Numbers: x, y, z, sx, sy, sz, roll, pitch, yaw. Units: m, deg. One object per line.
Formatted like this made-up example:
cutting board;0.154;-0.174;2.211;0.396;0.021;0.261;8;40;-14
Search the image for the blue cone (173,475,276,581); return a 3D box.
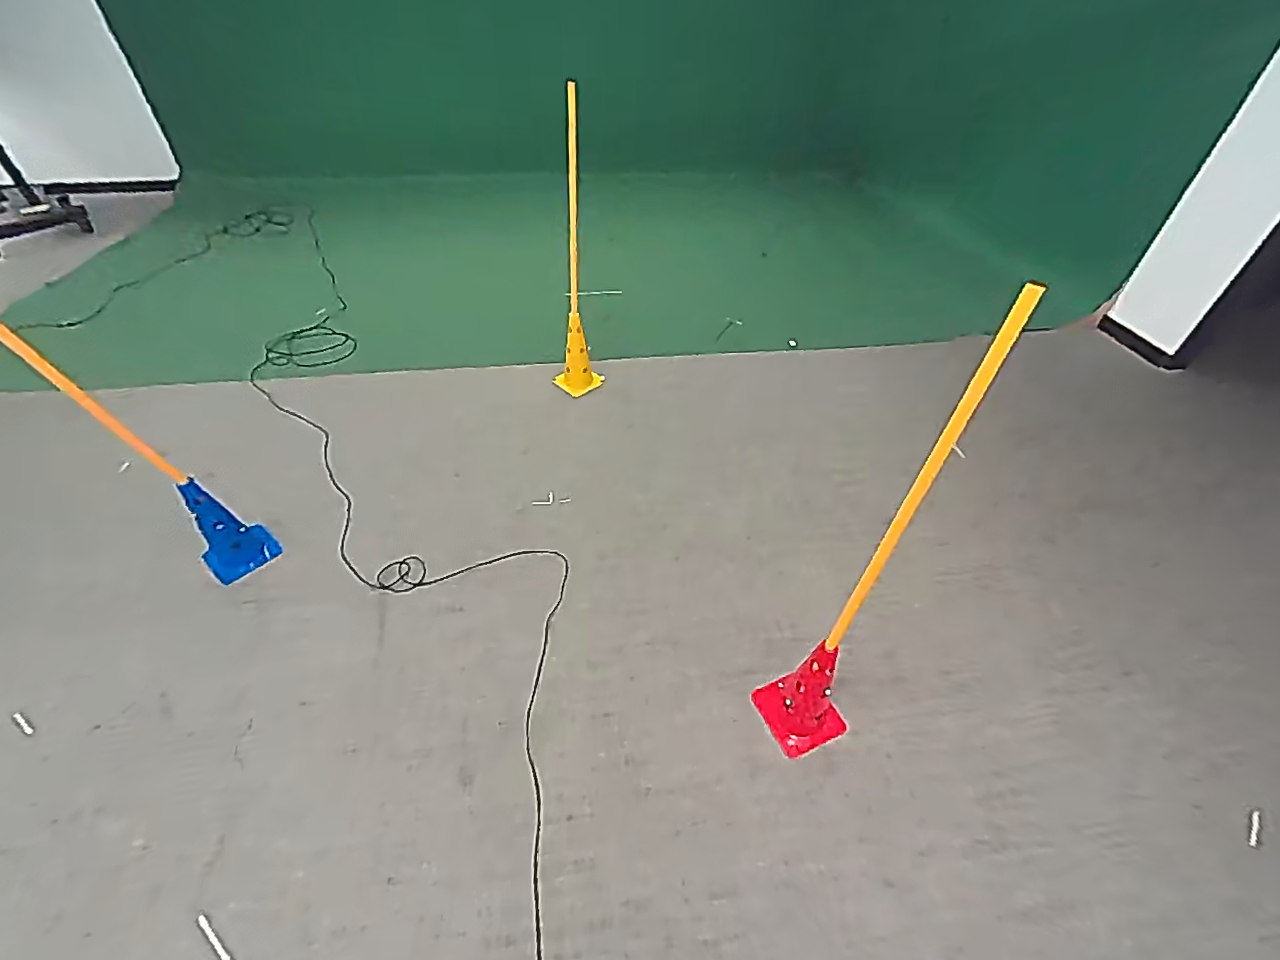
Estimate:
blue cone;-1.366;0.133;1.734;0.192;0.380;0.193;30;52;25
